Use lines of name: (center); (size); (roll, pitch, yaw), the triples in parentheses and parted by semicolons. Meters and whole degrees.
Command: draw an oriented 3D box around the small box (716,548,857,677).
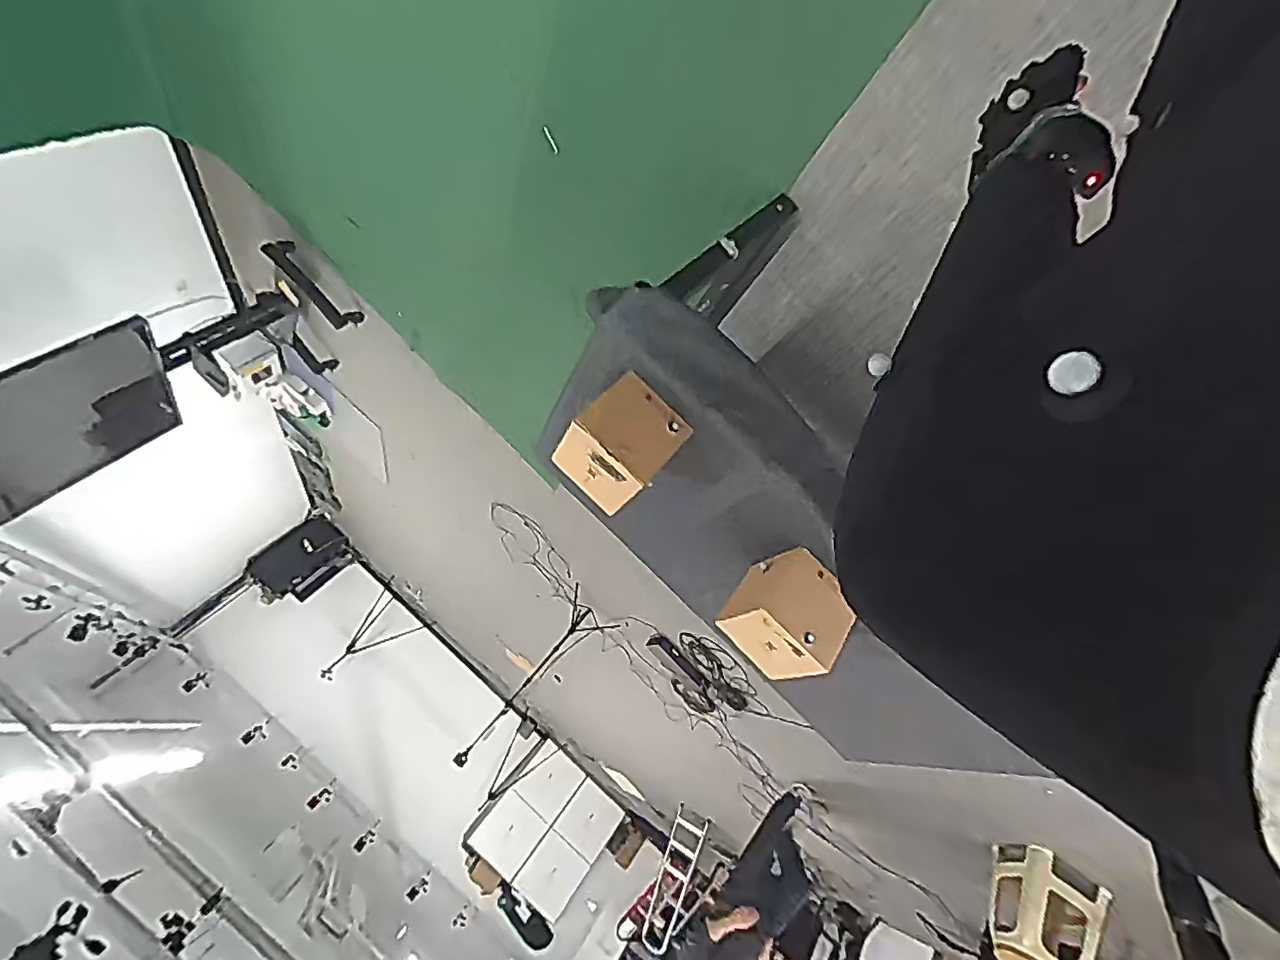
small box: (0.288, 0.261, 1.062); (0.168, 0.176, 0.179); (44, 148, -1)

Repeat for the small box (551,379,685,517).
small box: (-0.039, -0.062, 1.037); (0.168, 0.176, 0.179); (43, 149, -2)
